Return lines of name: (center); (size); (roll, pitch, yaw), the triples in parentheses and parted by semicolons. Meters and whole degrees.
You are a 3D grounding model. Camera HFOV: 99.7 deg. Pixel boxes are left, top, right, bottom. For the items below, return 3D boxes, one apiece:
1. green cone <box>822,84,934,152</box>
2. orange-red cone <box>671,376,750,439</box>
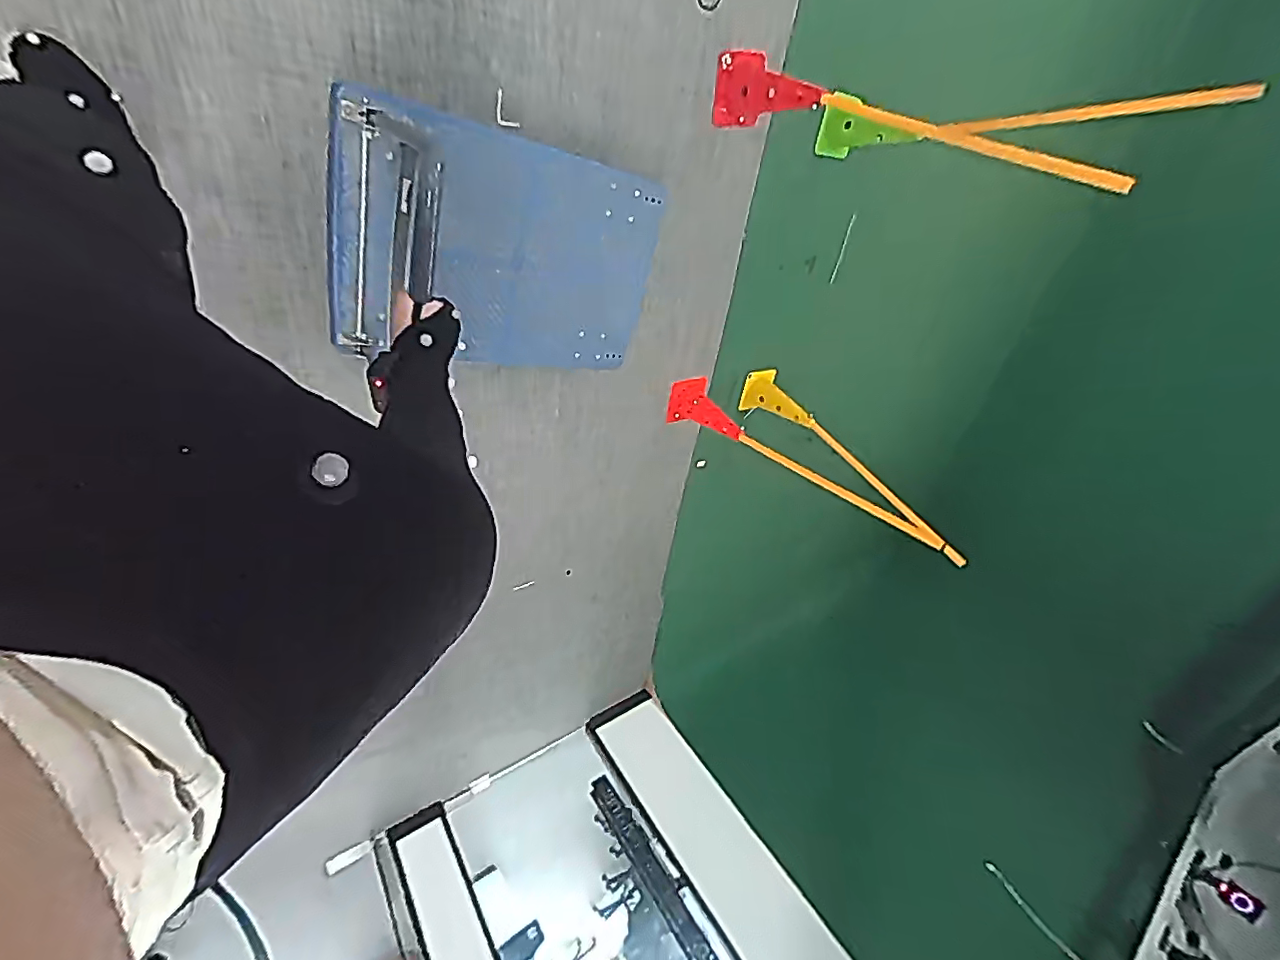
green cone: (0.870, -1.273, 1.929); (0.202, 0.368, 0.200); (-16, 131, -33)
orange-red cone: (0.325, -0.271, 2.267); (0.199, 0.360, 0.198); (-17, 132, -34)
